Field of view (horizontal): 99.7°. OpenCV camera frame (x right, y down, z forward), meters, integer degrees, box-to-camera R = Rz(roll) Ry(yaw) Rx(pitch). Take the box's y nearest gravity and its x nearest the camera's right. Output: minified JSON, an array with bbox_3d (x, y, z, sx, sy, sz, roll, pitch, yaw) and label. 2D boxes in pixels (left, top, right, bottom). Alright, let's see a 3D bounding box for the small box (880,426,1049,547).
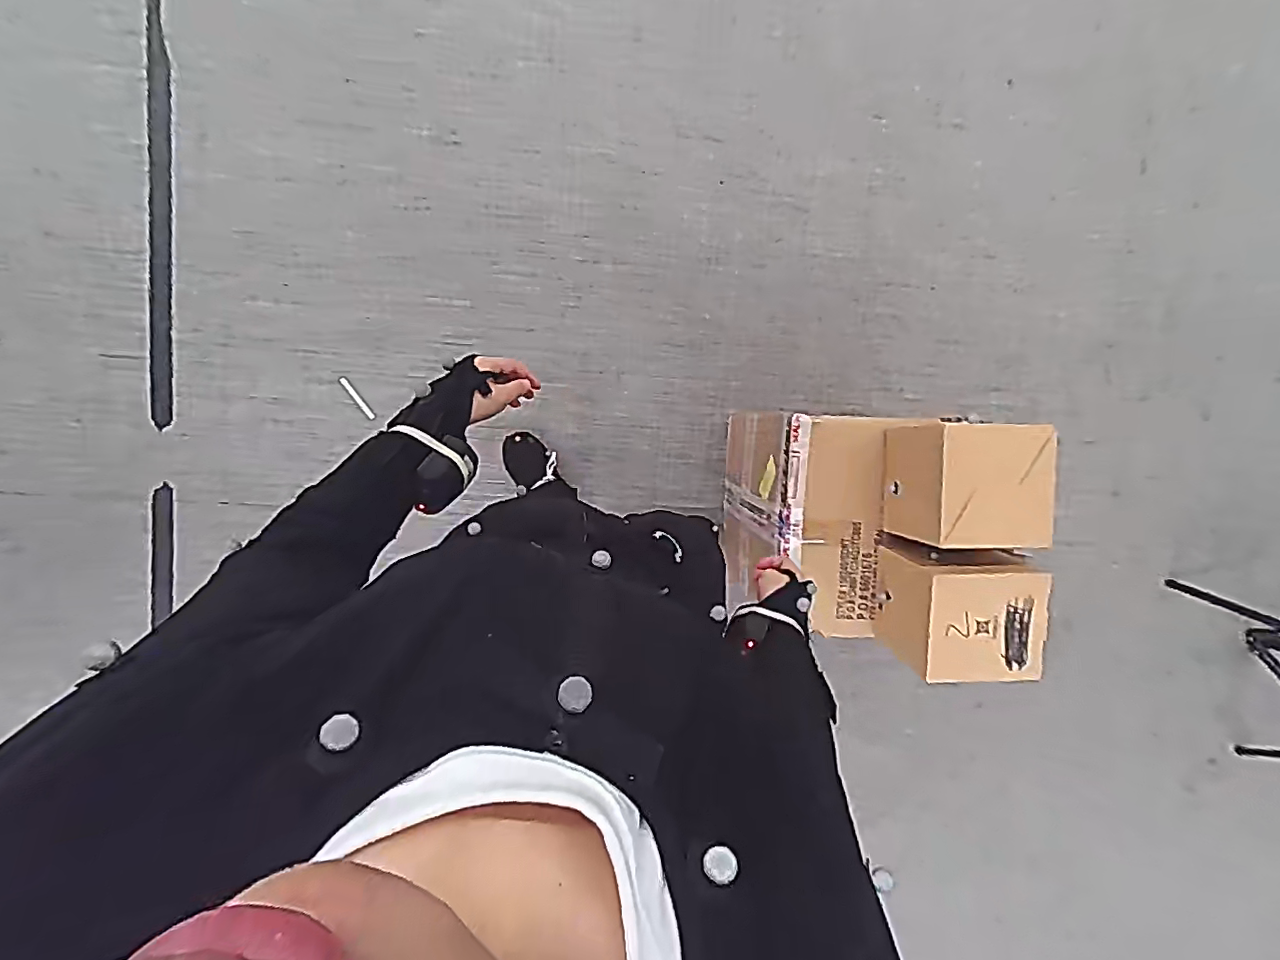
[{"bbox_3d":[0.495,0.007,0.844,0.168,0.176,0.179,1,94,-3],"label":"small box"}]
